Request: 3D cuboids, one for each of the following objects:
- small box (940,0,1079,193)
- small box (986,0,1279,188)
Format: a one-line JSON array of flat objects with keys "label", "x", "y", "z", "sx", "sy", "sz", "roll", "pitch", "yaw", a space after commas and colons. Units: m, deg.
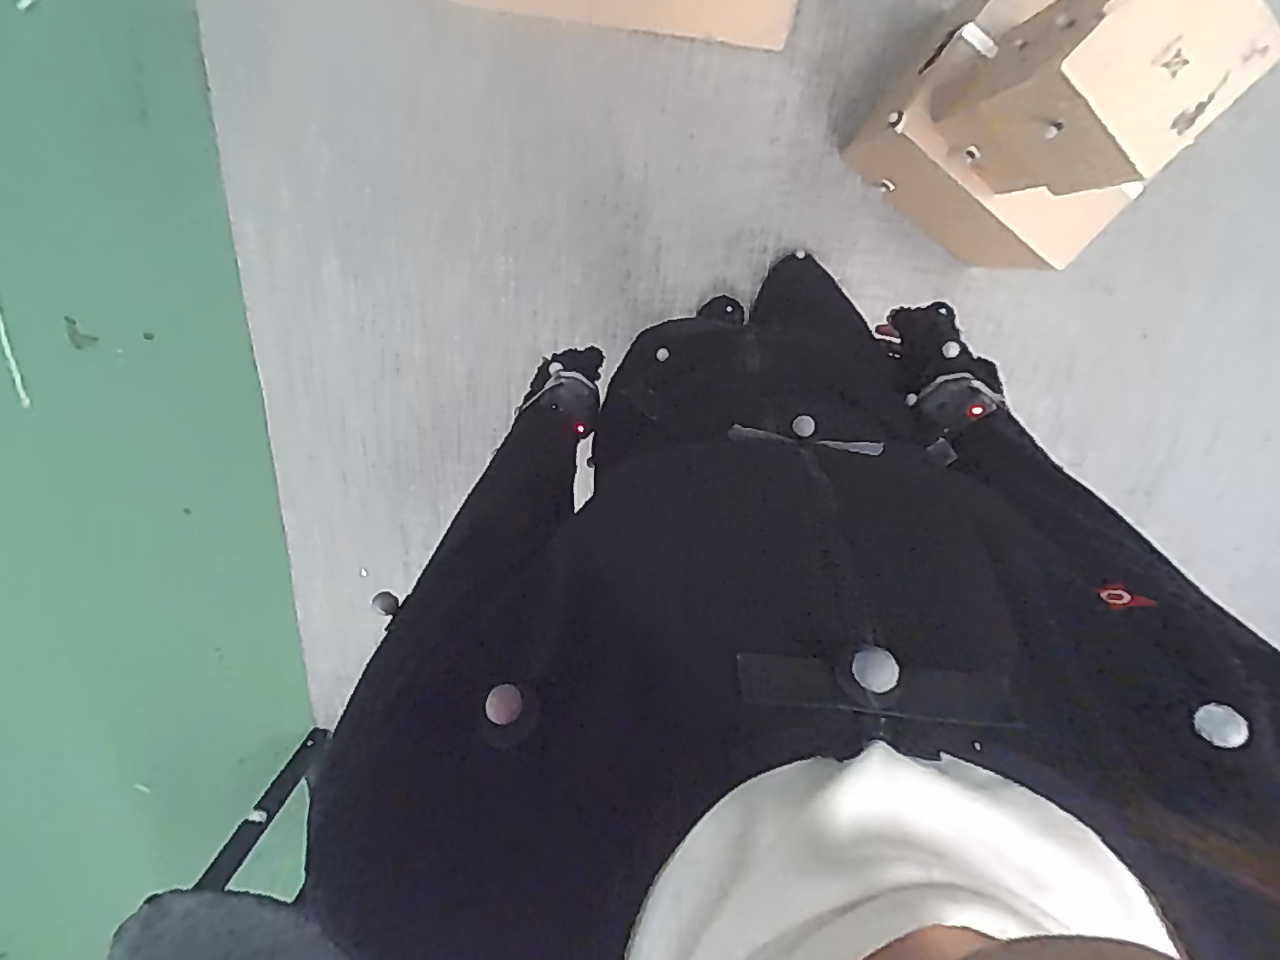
[{"label": "small box", "x": 0.593, "y": -0.559, "z": 0.800, "sx": 0.168, "sy": 0.176, "sz": 0.179, "roll": 36, "pitch": 111, "yaw": -10}, {"label": "small box", "x": 0.575, "y": -0.487, "z": 0.657, "sx": 0.179, "sy": 0.176, "sz": 0.168, "roll": 37, "pitch": 108, "yaw": -11}]
